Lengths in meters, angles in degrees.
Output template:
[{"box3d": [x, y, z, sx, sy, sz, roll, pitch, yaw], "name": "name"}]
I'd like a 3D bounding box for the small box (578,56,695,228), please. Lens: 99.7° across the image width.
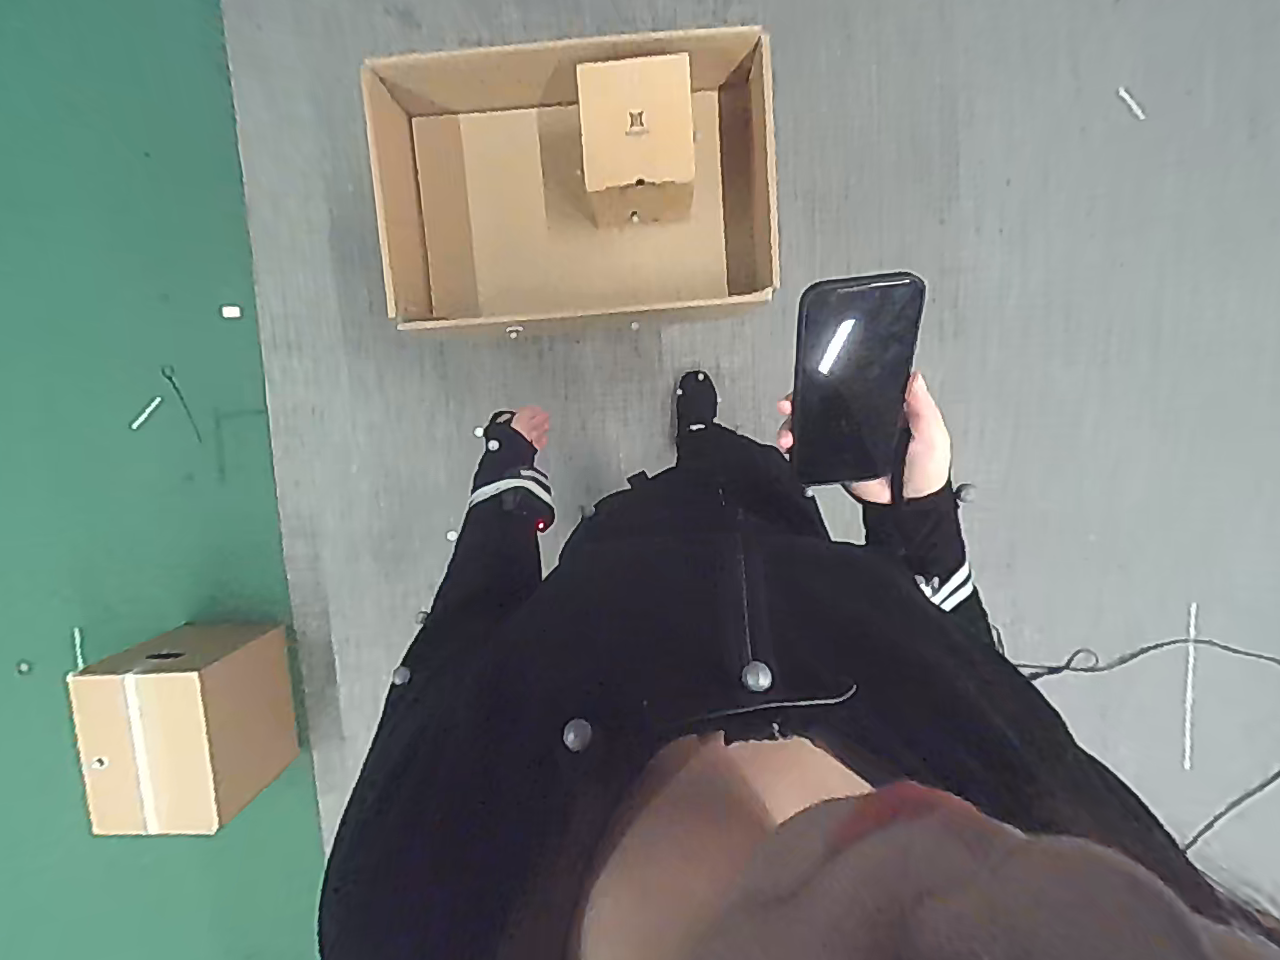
[{"box3d": [-0.003, -0.527, 0.867, 0.168, 0.176, 0.179, -4, 97, 3], "name": "small box"}]
